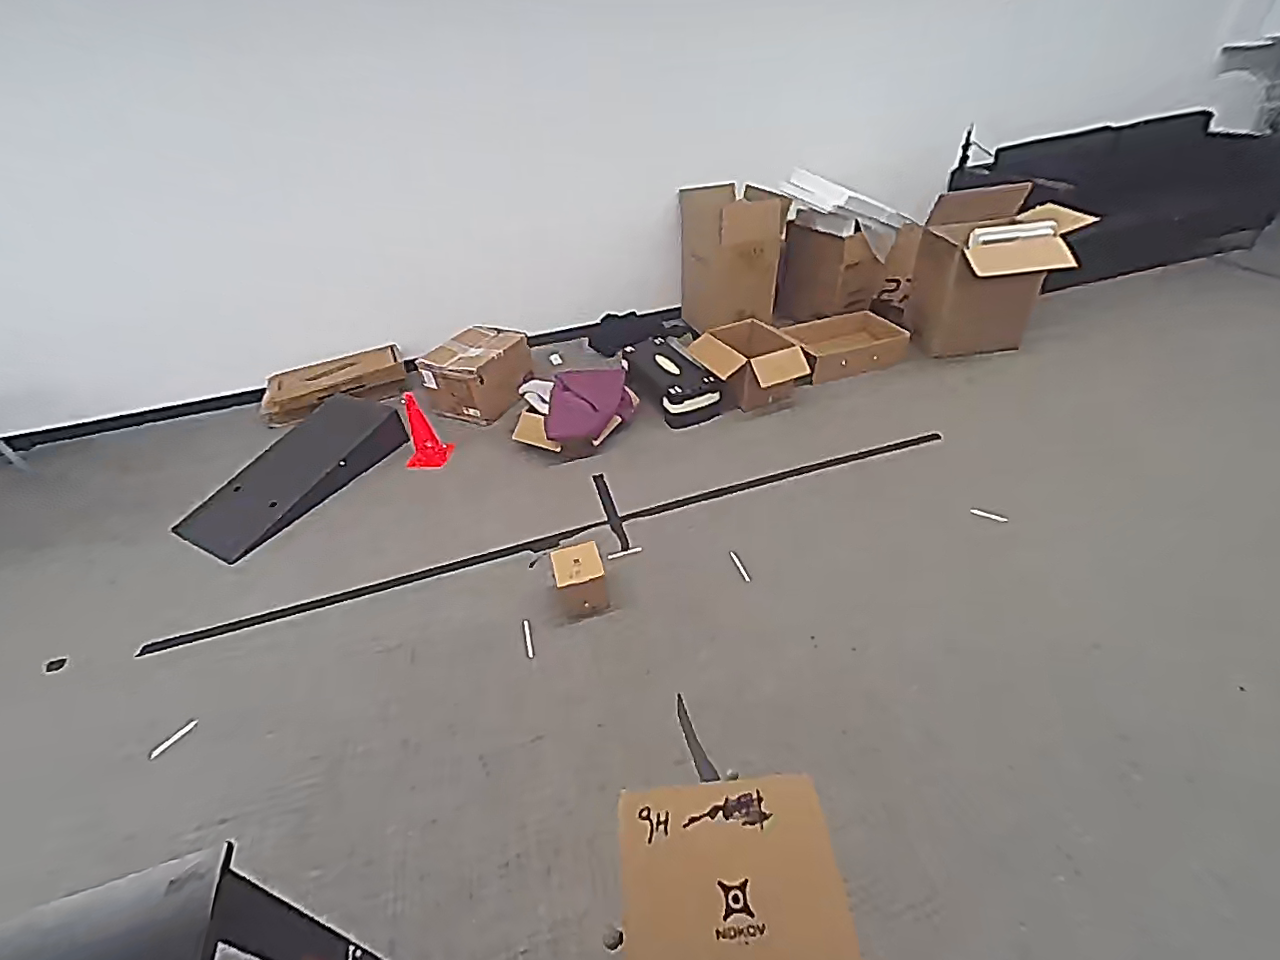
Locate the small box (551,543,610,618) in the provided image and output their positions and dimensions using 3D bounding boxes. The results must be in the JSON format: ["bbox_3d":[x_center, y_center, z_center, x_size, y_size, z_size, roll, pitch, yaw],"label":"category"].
[{"bbox_3d":[-0.210,0.356,1.913,0.168,0.176,0.179,-14,39,-9],"label":"small box"}]
